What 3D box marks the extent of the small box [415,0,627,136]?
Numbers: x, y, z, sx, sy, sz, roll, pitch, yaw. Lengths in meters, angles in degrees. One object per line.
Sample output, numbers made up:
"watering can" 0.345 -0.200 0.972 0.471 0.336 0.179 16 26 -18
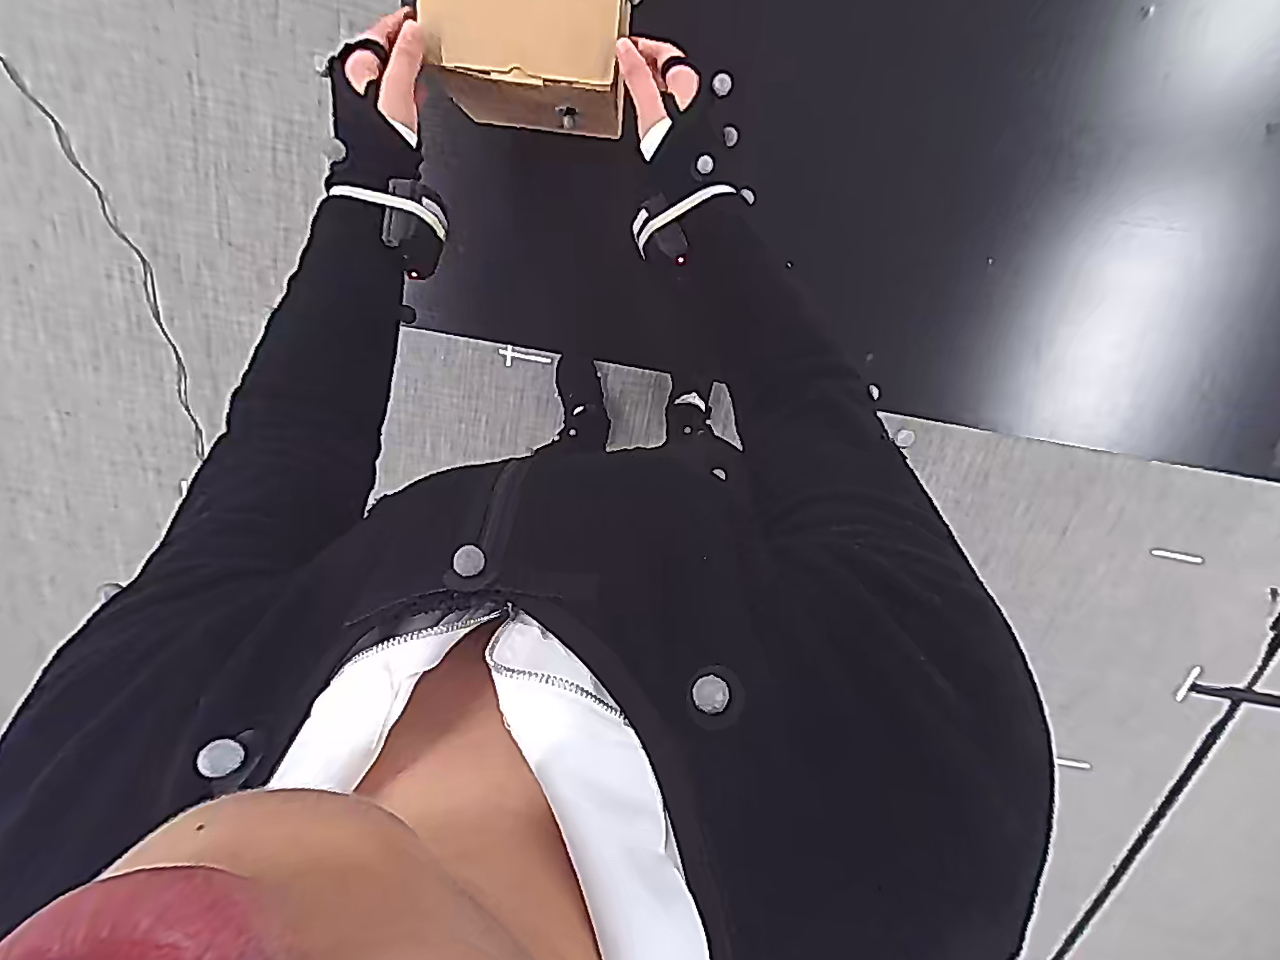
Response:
"small box" -0.099 -0.448 0.507 0.168 0.176 0.179 5 109 -3
